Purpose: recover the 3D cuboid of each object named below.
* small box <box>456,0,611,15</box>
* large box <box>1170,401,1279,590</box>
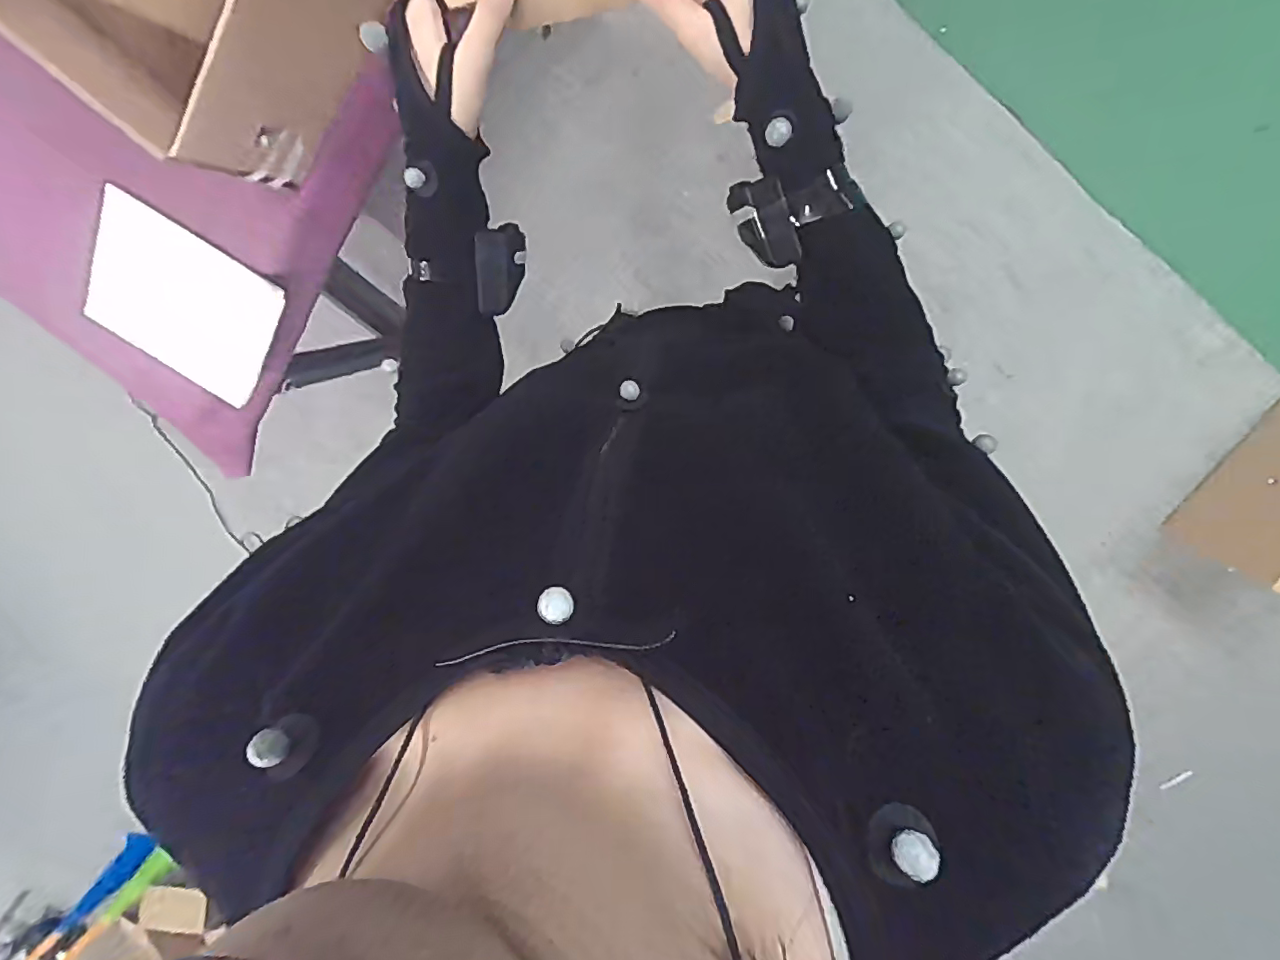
[{"bbox_3d":[-0.040,-0.411,0.329,0.168,0.176,0.179,-5,125,8],"label":"small box"},{"bbox_3d":[1.558,0.070,1.198,0.320,0.320,0.408,25,110,-2],"label":"large box"}]
